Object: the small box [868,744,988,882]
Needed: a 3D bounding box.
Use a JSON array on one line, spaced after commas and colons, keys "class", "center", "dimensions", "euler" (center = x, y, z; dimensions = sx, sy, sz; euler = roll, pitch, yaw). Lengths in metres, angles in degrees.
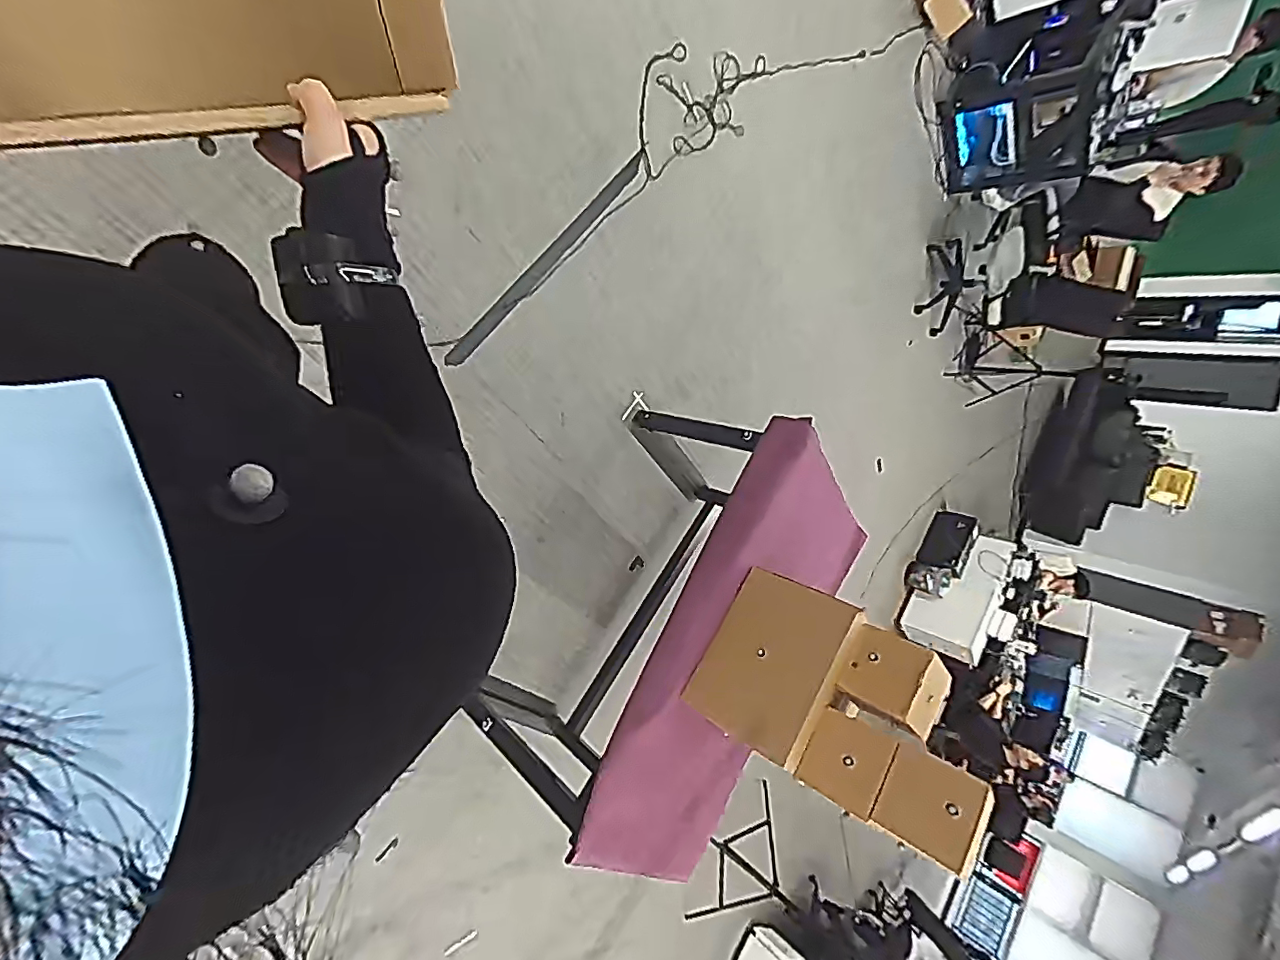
[{"class": "small box", "center": [0.596, 0.680, 1.117], "dimensions": [0.179, 0.176, 0.168], "euler": [-56, 134, -17]}]
